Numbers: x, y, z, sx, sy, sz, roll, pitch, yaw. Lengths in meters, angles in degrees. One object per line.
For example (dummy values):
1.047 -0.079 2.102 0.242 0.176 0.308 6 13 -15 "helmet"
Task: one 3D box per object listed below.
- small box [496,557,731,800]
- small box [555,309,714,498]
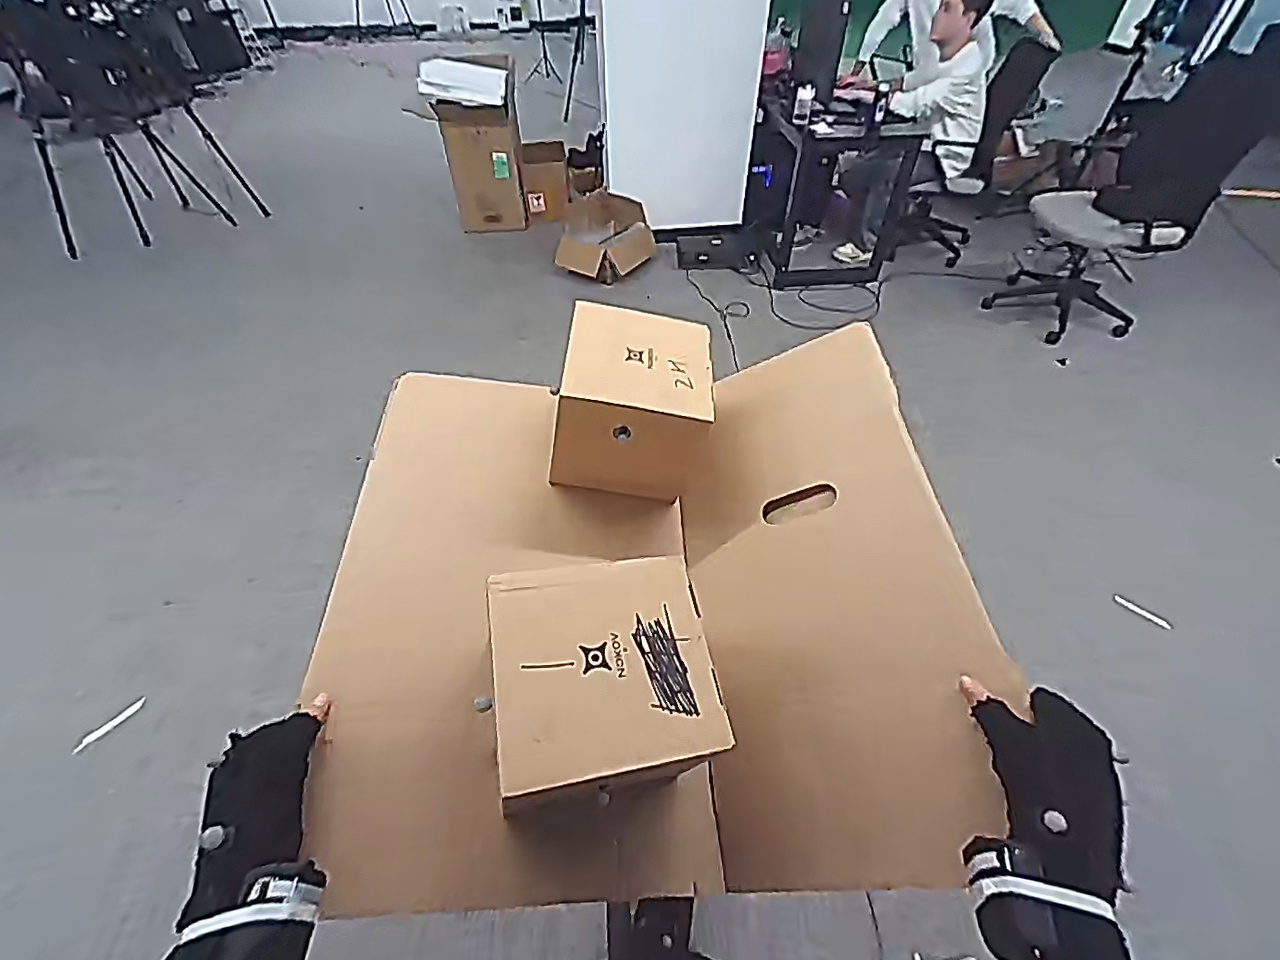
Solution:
-0.041 0.187 0.508 0.179 0.176 0.168 -3 57 -16 "small box"
-0.012 -0.093 0.714 0.179 0.176 0.168 10 54 -8 "small box"
